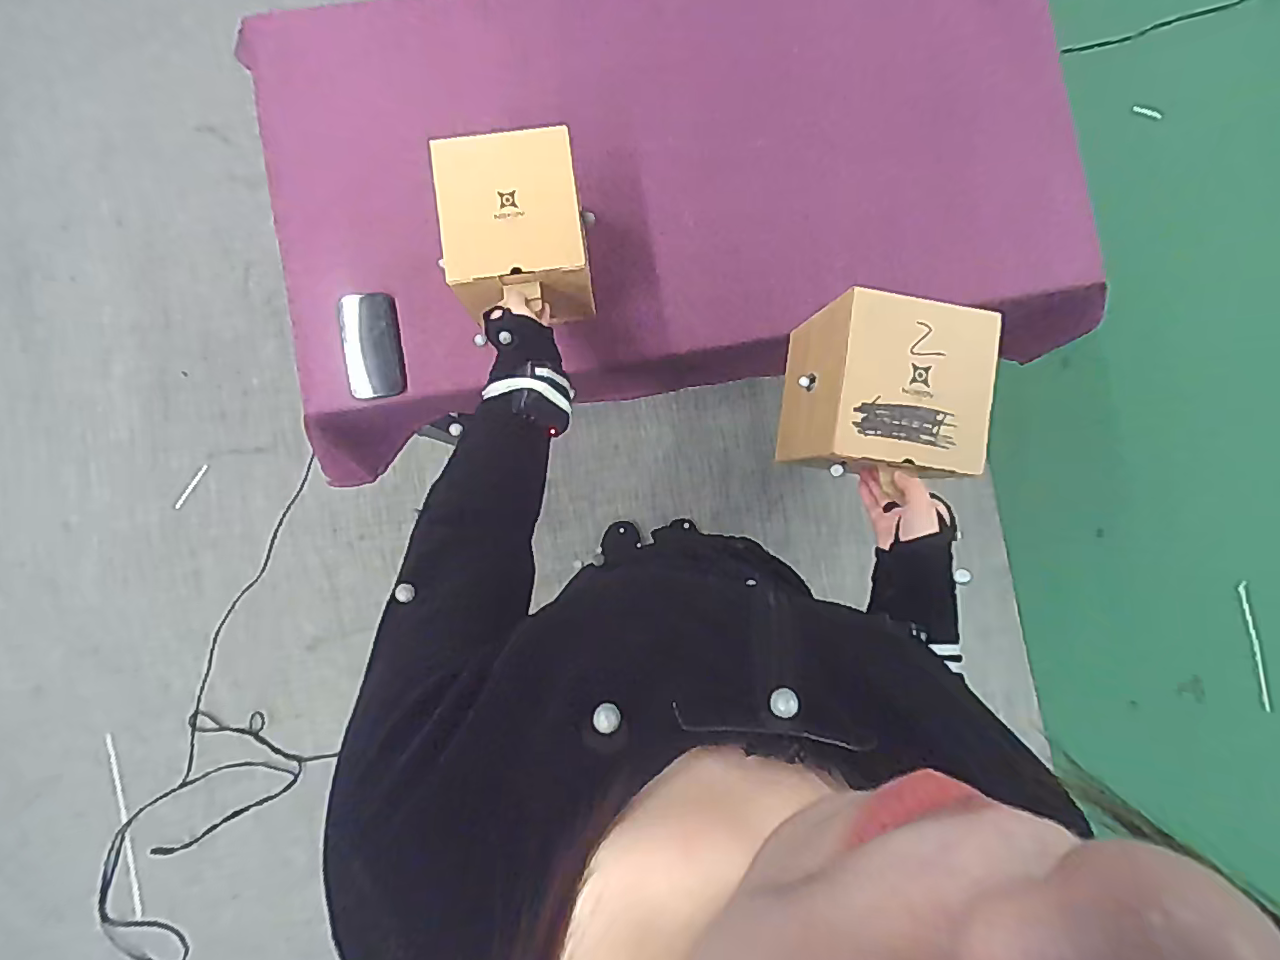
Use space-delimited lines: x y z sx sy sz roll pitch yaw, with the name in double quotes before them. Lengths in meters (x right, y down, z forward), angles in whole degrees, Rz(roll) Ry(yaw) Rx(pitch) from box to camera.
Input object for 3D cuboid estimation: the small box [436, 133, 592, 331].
"small box" -0.155 -0.315 0.715 0.168 0.176 0.179 -7 87 -3
